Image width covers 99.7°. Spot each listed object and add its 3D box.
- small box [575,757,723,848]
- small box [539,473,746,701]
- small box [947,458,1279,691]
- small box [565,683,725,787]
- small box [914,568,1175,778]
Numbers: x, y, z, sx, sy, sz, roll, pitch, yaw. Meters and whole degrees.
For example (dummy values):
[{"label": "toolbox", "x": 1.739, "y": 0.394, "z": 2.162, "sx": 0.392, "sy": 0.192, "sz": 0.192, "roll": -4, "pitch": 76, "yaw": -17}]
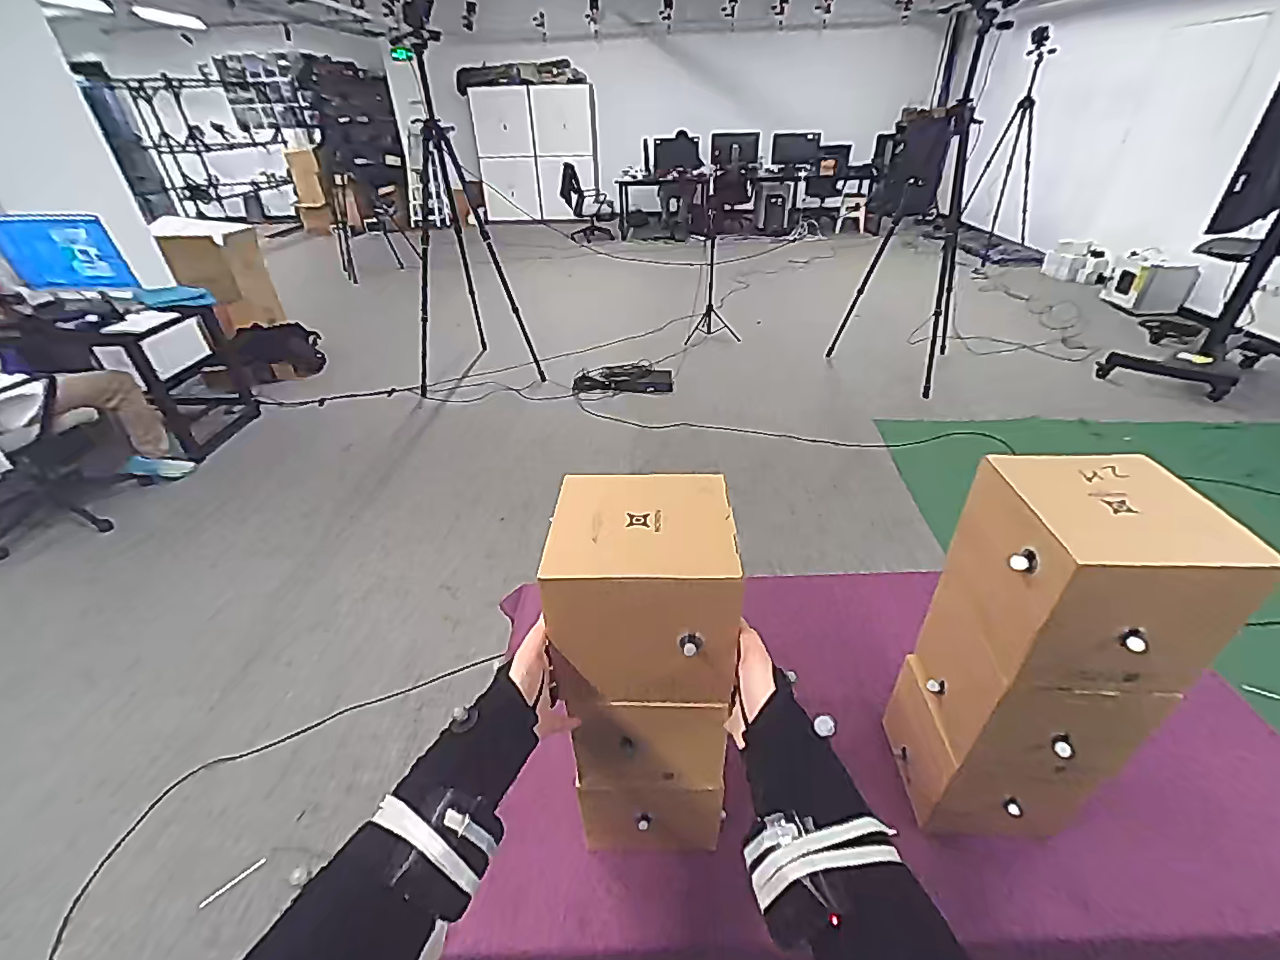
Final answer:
[{"label": "small box", "x": 0.014, "y": 0.378, "z": 0.742, "sx": 0.179, "sy": 0.176, "sz": 0.168, "roll": -1, "pitch": 34, "yaw": 2}, {"label": "small box", "x": 0.007, "y": 0.108, "z": 0.560, "sx": 0.179, "sy": 0.176, "sz": 0.168, "roll": 0, "pitch": 32, "yaw": 3}, {"label": "small box", "x": 0.449, "y": 0.093, "z": 0.554, "sx": 0.168, "sy": 0.176, "sz": 0.179, "roll": 1, "pitch": 34, "yaw": 5}, {"label": "small box", "x": 0.013, "y": 0.243, "z": 0.652, "sx": 0.168, "sy": 0.176, "sz": 0.179, "roll": 0, "pitch": 33, "yaw": 3}, {"label": "small box", "x": 0.456, "y": 0.229, "z": 0.649, "sx": 0.168, "sy": 0.176, "sz": 0.179, "roll": 2, "pitch": 35, "yaw": 6}]
